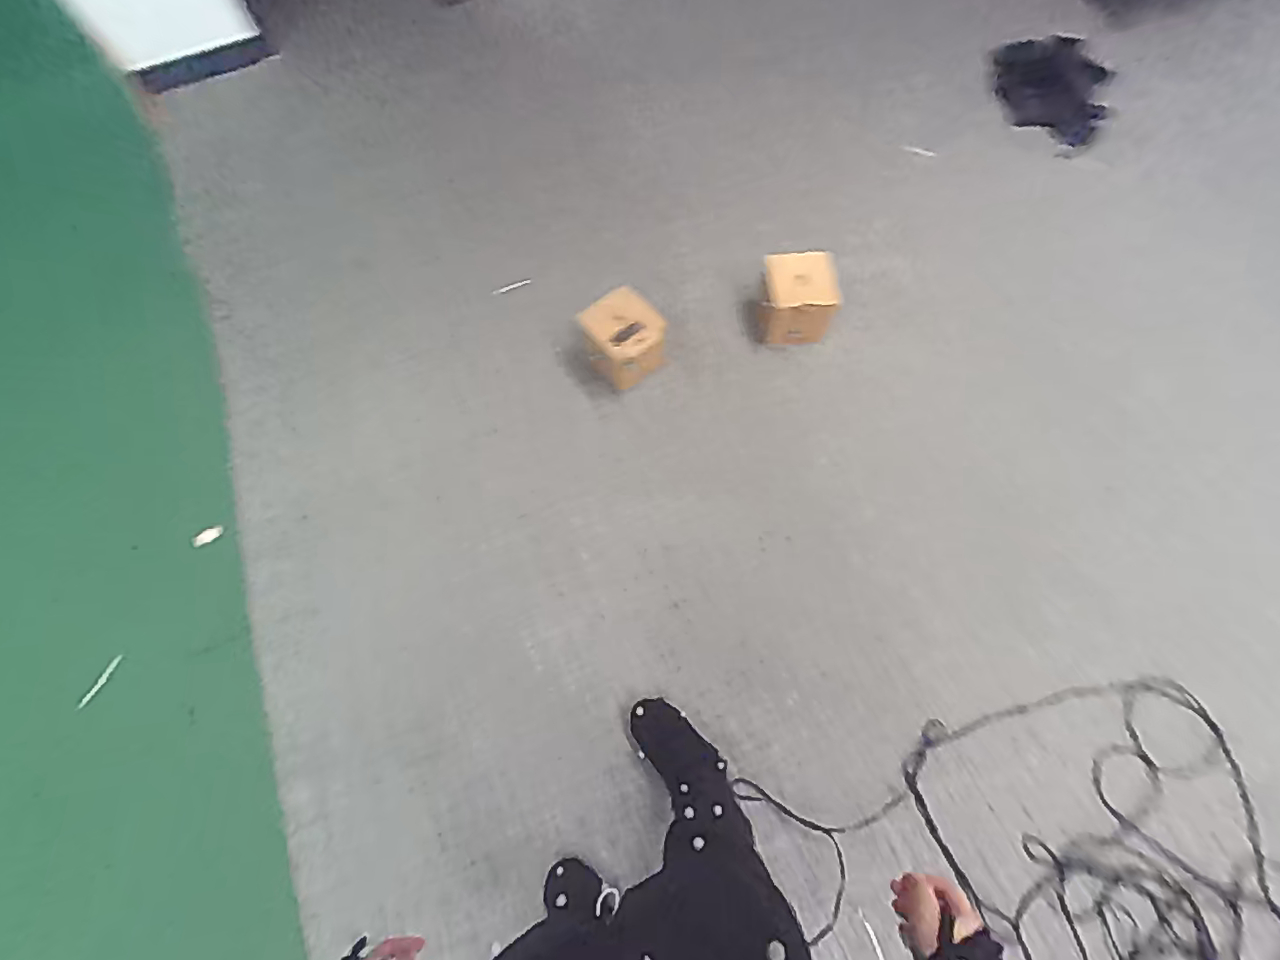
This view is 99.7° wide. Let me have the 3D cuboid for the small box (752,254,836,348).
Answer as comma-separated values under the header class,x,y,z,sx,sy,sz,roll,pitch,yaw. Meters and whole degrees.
class,x,y,z,sx,sy,sz,roll,pitch,yaw
small box,0.410,-0.484,1.476,0.168,0.176,0.179,-5,68,-1
